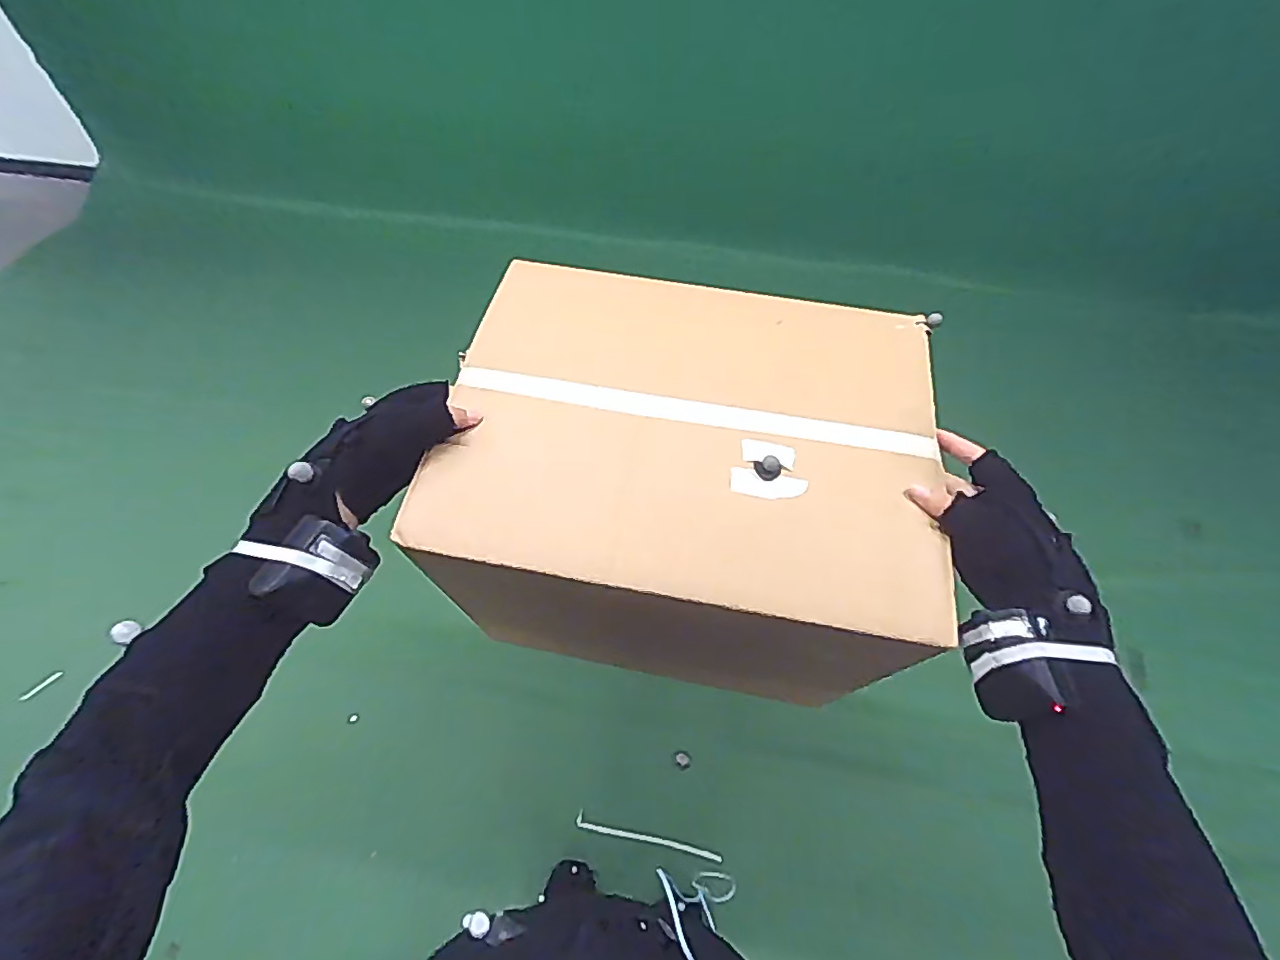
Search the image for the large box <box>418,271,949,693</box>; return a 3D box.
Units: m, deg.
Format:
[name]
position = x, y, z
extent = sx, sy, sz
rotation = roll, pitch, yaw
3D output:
[large box]
position = 0.045, 0.019, 0.596
extent = 0.408, 0.320, 0.320
rotation = 10, 61, 4
